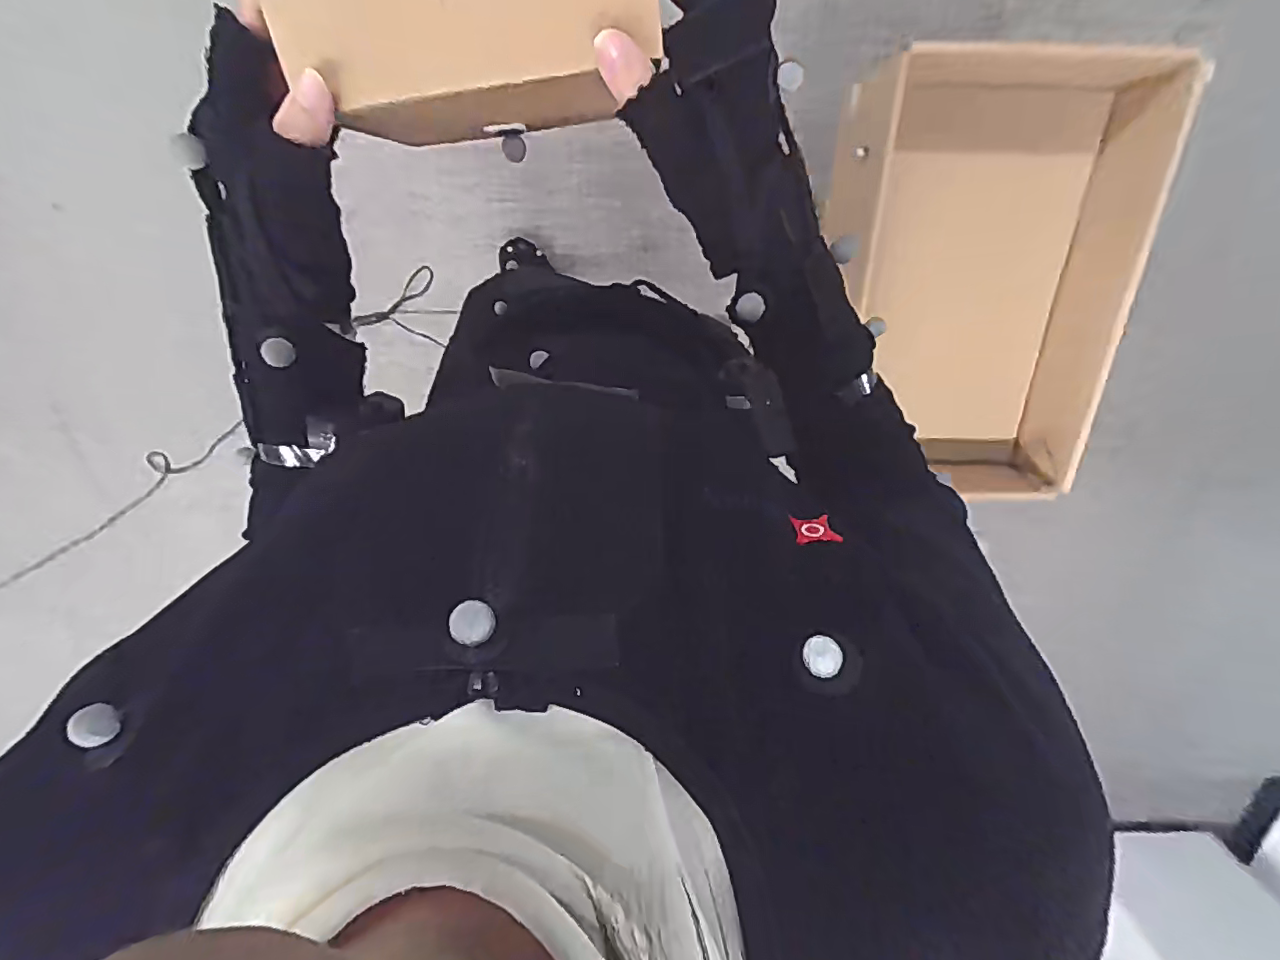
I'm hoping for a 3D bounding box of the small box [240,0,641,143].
[{"bbox_3d":[-0.093,-0.289,0.272,0.168,0.176,0.179,-8,117,3],"label":"small box"}]
